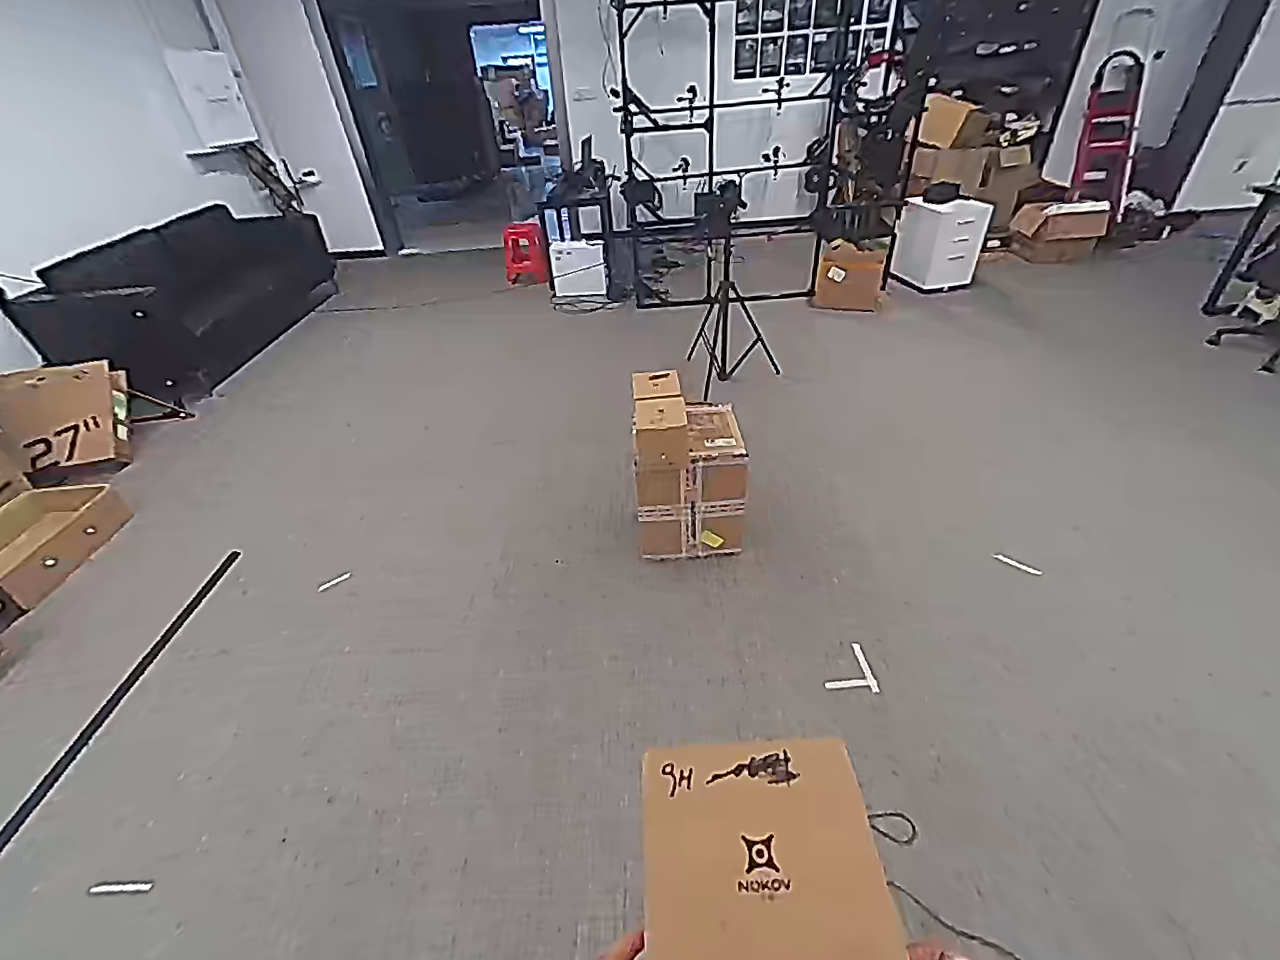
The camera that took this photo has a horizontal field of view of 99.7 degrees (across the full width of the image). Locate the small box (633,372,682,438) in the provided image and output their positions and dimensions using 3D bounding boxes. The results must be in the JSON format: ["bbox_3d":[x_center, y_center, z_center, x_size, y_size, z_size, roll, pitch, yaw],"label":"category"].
[{"bbox_3d":[0.063,-0.271,1.963,0.168,0.176,0.179,-6,40,2],"label":"small box"}]
